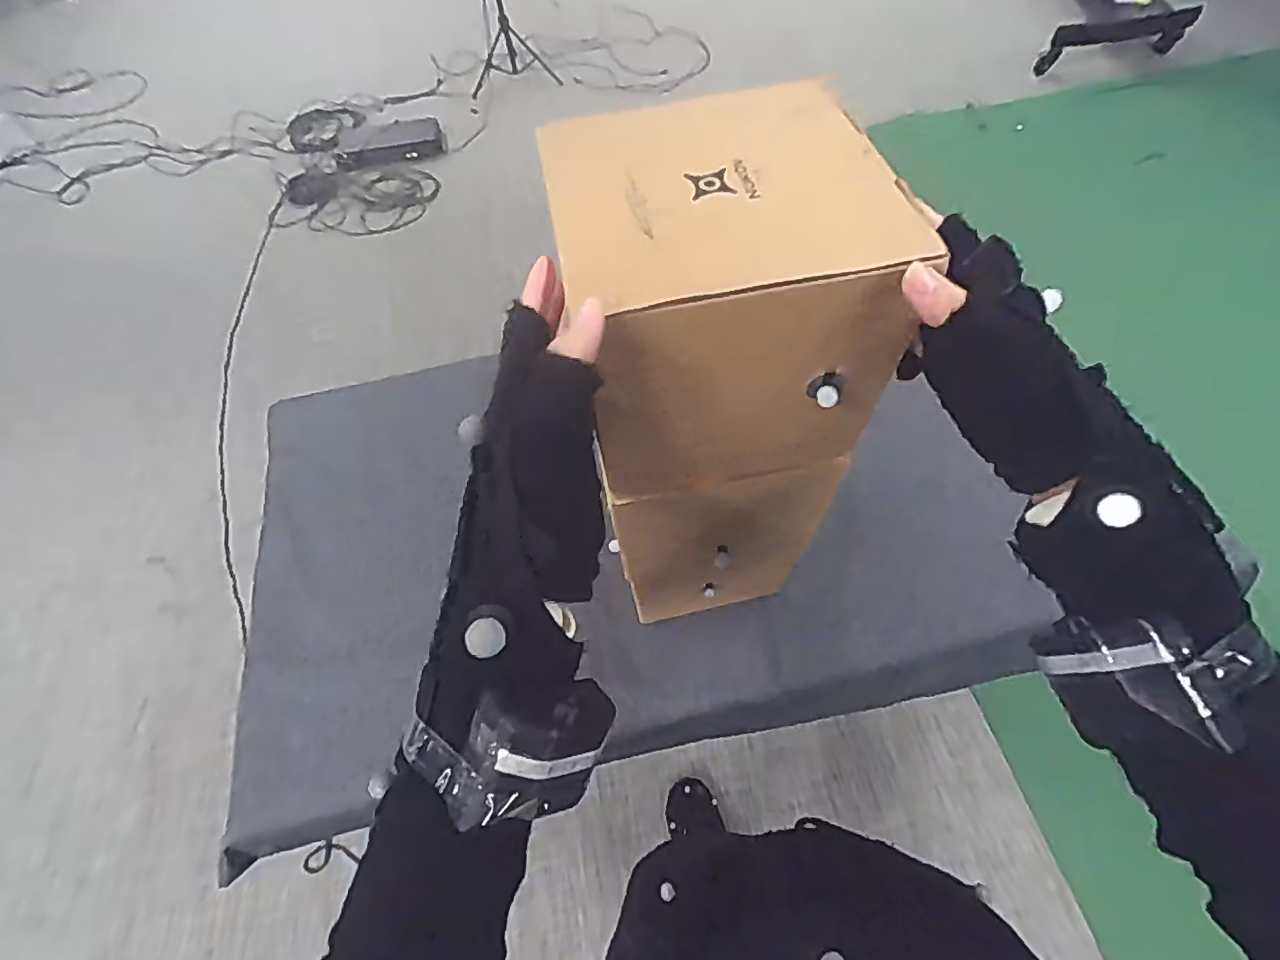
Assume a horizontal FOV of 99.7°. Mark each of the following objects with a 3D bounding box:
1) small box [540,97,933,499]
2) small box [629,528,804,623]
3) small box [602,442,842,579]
[{"bbox_3d":[0.044,-0.108,0.356,0.179,0.176,0.168,-12,59,-2],"label":"small box"},{"bbox_3d":[0.064,0.052,0.640,0.179,0.176,0.168,-15,61,-6],"label":"small box"},{"bbox_3d":[0.052,-0.024,0.496,0.179,0.176,0.168,-11,60,-3],"label":"small box"}]
